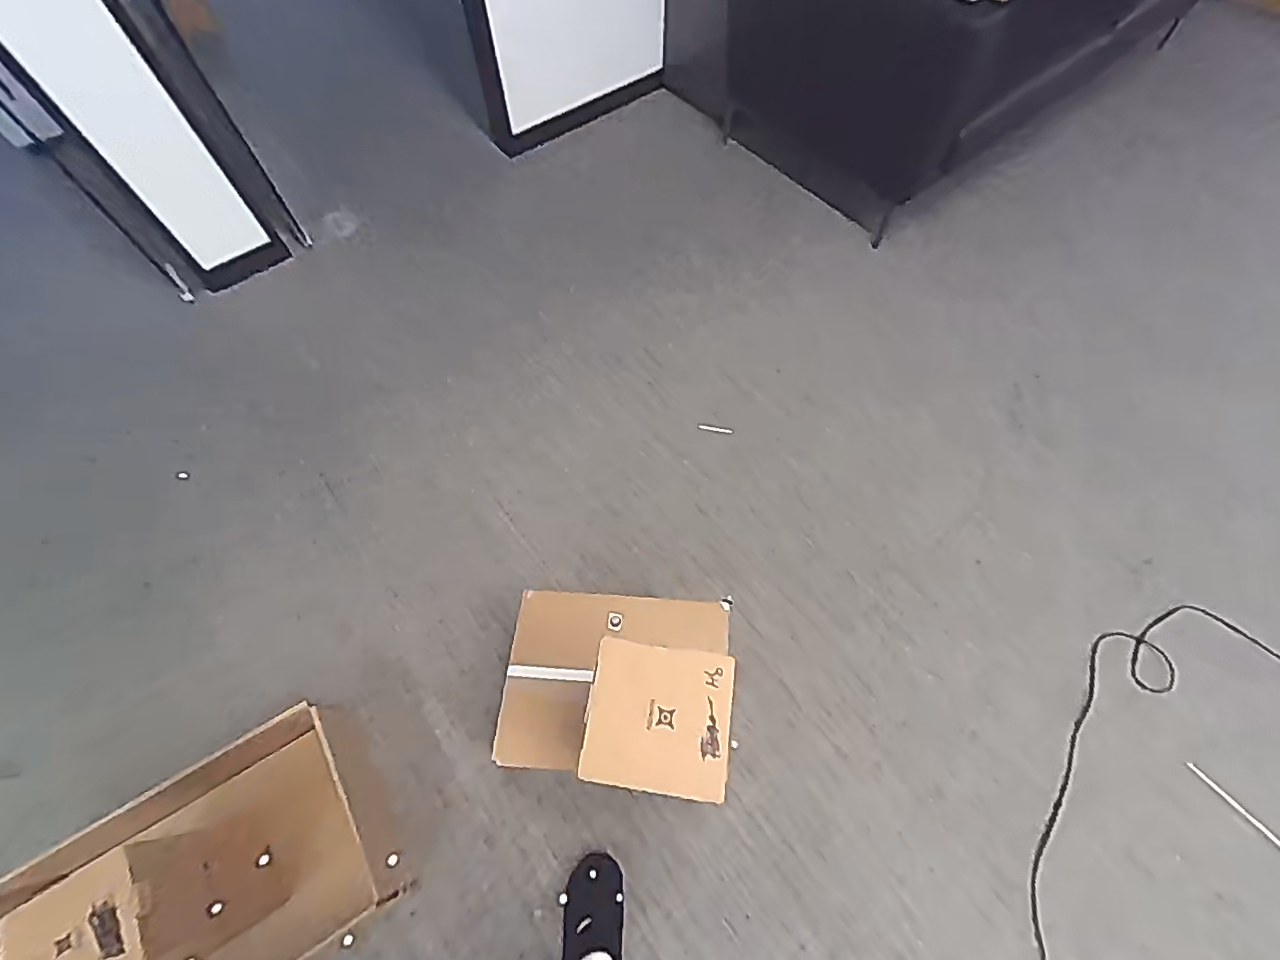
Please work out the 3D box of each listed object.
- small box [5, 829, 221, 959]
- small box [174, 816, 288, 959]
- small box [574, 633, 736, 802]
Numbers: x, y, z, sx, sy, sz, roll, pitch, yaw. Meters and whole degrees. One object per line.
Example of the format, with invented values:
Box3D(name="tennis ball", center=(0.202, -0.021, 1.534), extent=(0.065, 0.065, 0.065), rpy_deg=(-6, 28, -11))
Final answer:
Box3D(name="small box", center=(-0.794, 0.676, 0.835), extent=(0.179, 0.176, 0.168), rpy_deg=(-30, 67, -12))
Box3D(name="small box", center=(-0.793, 0.747, 0.983), extent=(0.179, 0.176, 0.168), rpy_deg=(-30, 68, -14))
Box3D(name="small box", center=(0.023, 0.315, 0.726), extent=(0.179, 0.176, 0.168), rpy_deg=(9, 67, 5))
